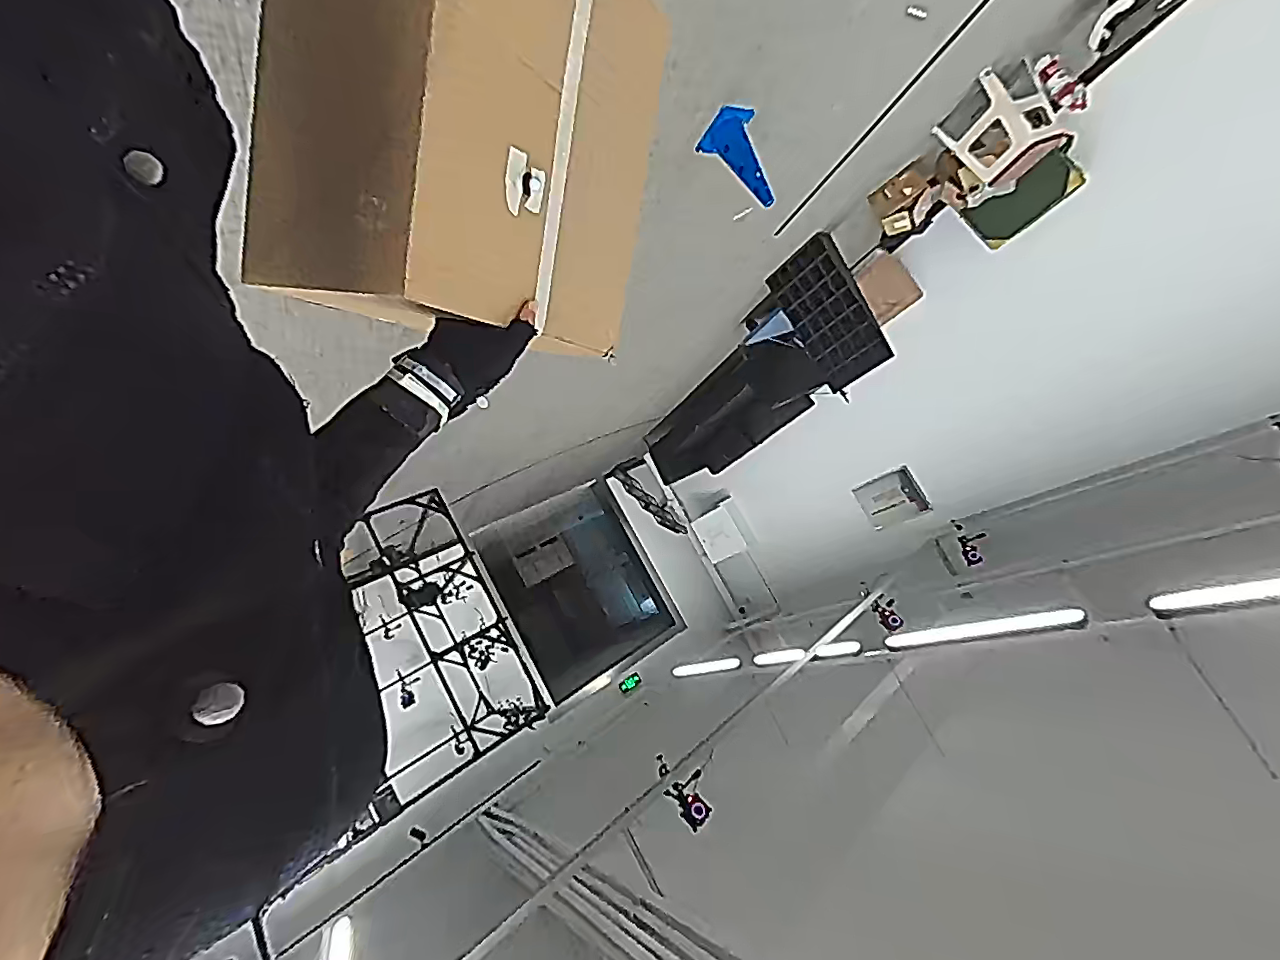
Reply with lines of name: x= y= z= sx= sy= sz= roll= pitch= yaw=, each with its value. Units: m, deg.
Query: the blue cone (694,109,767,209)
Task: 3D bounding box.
blue cone: x=0.400 y=-1.241 z=2.130 sx=0.193 sy=0.380 sz=0.192 roll=-24 pitch=172 yaw=-38

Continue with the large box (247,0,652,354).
large box: x=-0.220 y=-0.388 z=0.640 sx=0.320 sy=0.408 sz=0.320 roll=15 pitch=-169 yaw=32
